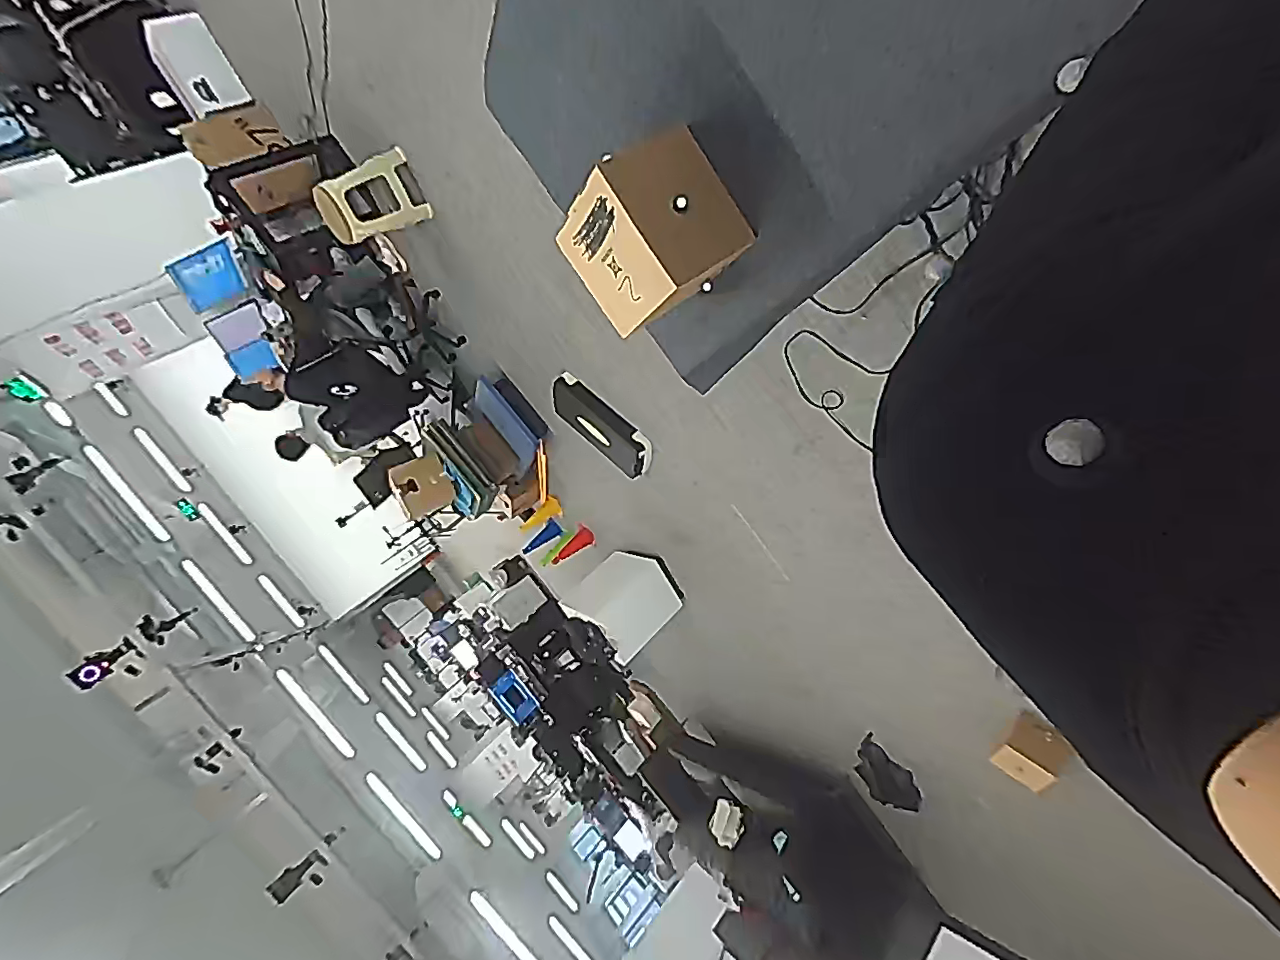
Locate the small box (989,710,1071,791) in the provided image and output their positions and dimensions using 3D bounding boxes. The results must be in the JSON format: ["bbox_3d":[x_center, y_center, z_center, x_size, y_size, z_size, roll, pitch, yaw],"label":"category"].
[{"bbox_3d":[1.399,0.967,1.938,0.168,0.176,0.179,31,147,32],"label":"small box"}]
